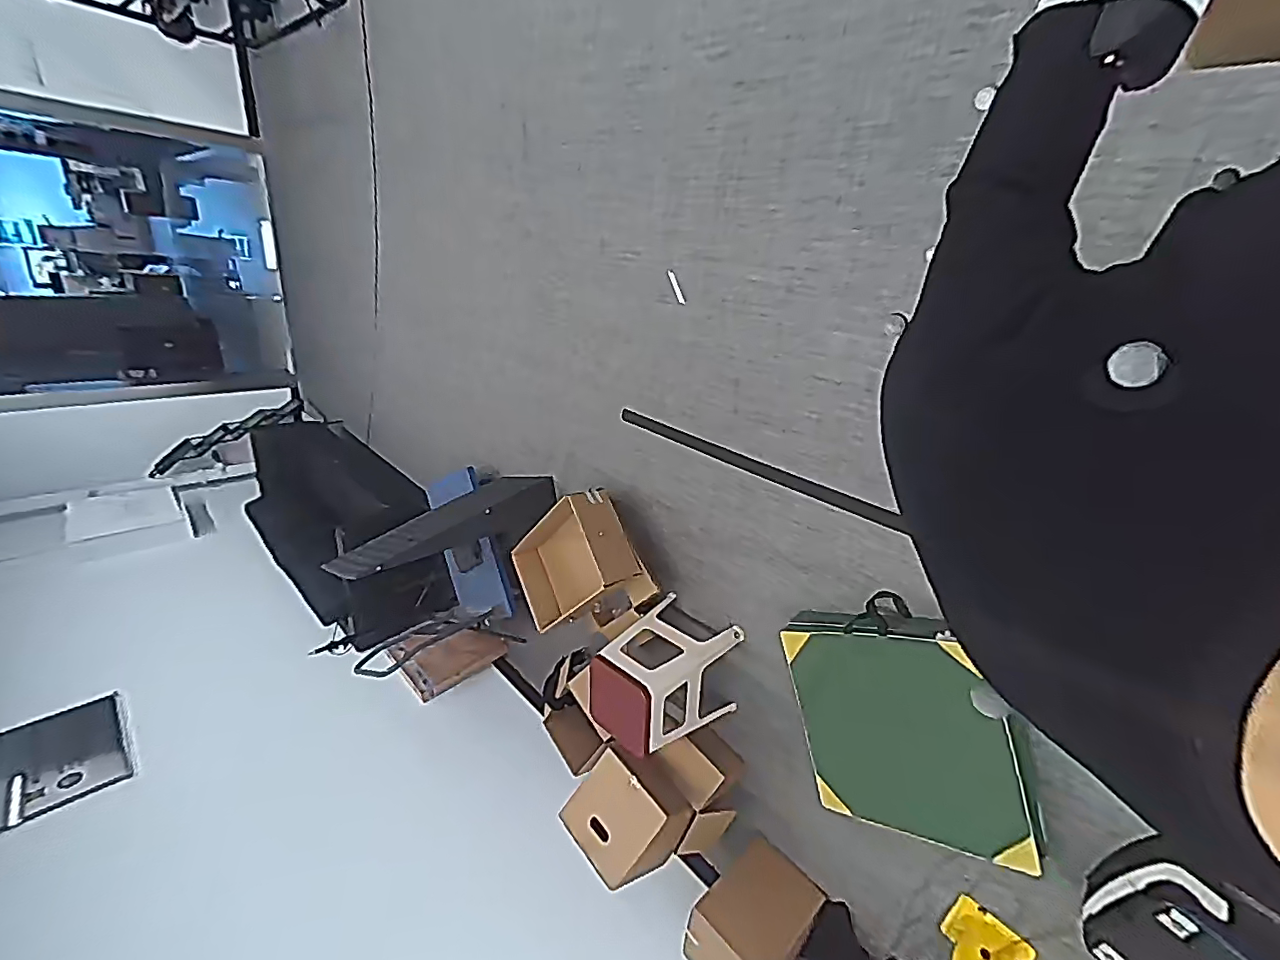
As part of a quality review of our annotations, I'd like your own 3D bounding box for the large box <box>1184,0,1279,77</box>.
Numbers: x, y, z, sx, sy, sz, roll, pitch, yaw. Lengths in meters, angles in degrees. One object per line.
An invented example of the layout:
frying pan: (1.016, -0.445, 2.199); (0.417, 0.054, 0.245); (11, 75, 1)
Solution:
large box: (0.598, -0.449, 0.267); (0.408, 0.320, 0.320); (24, 121, 38)
